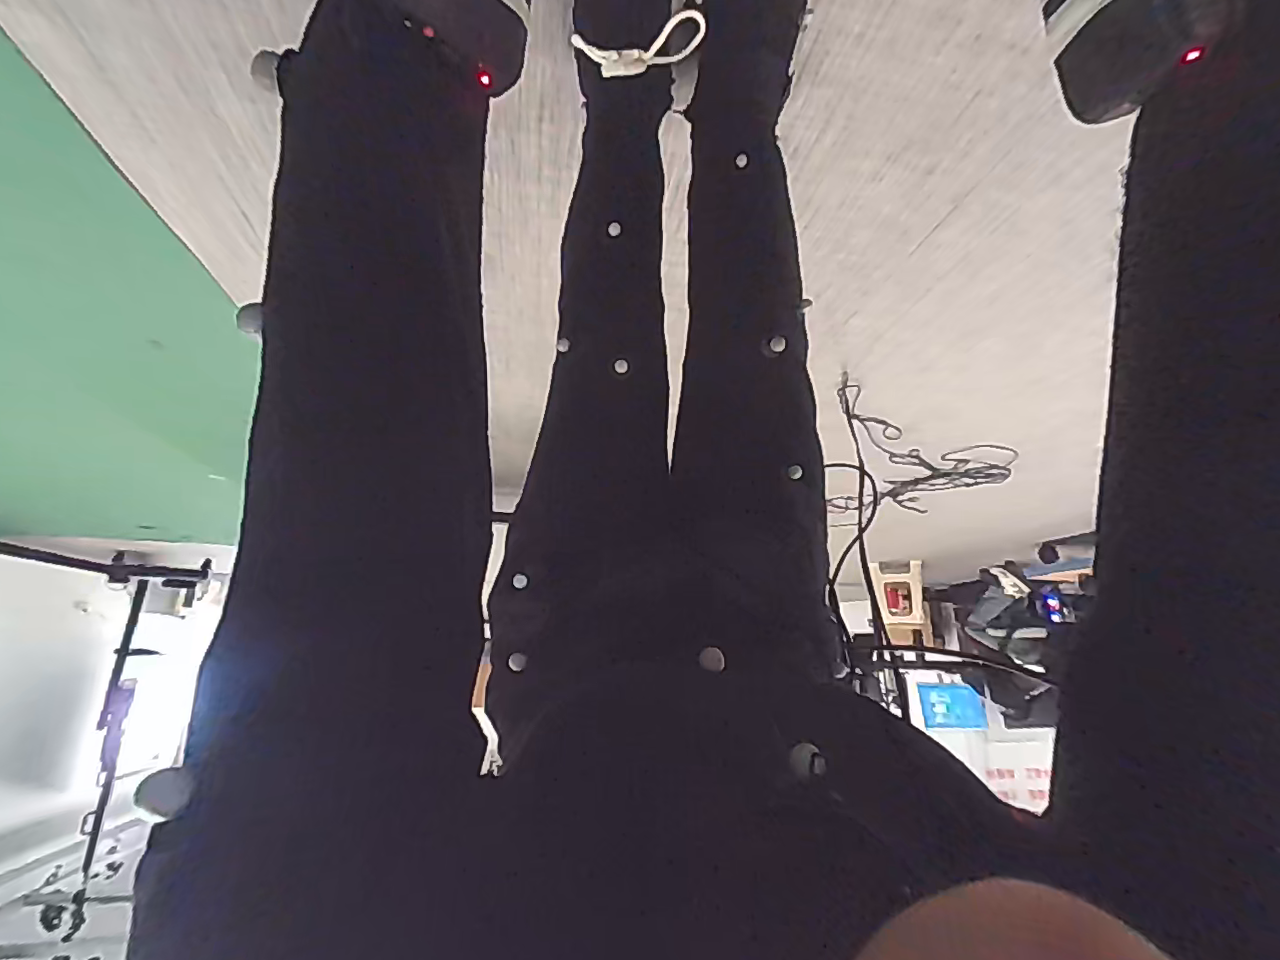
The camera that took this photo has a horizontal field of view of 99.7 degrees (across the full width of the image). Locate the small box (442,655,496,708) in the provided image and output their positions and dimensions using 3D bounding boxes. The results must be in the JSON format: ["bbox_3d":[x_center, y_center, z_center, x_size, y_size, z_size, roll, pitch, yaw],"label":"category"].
[{"bbox_3d":[-0.608,0.719,1.937,0.168,0.176,0.179,4,161,-12],"label":"small box"}]
